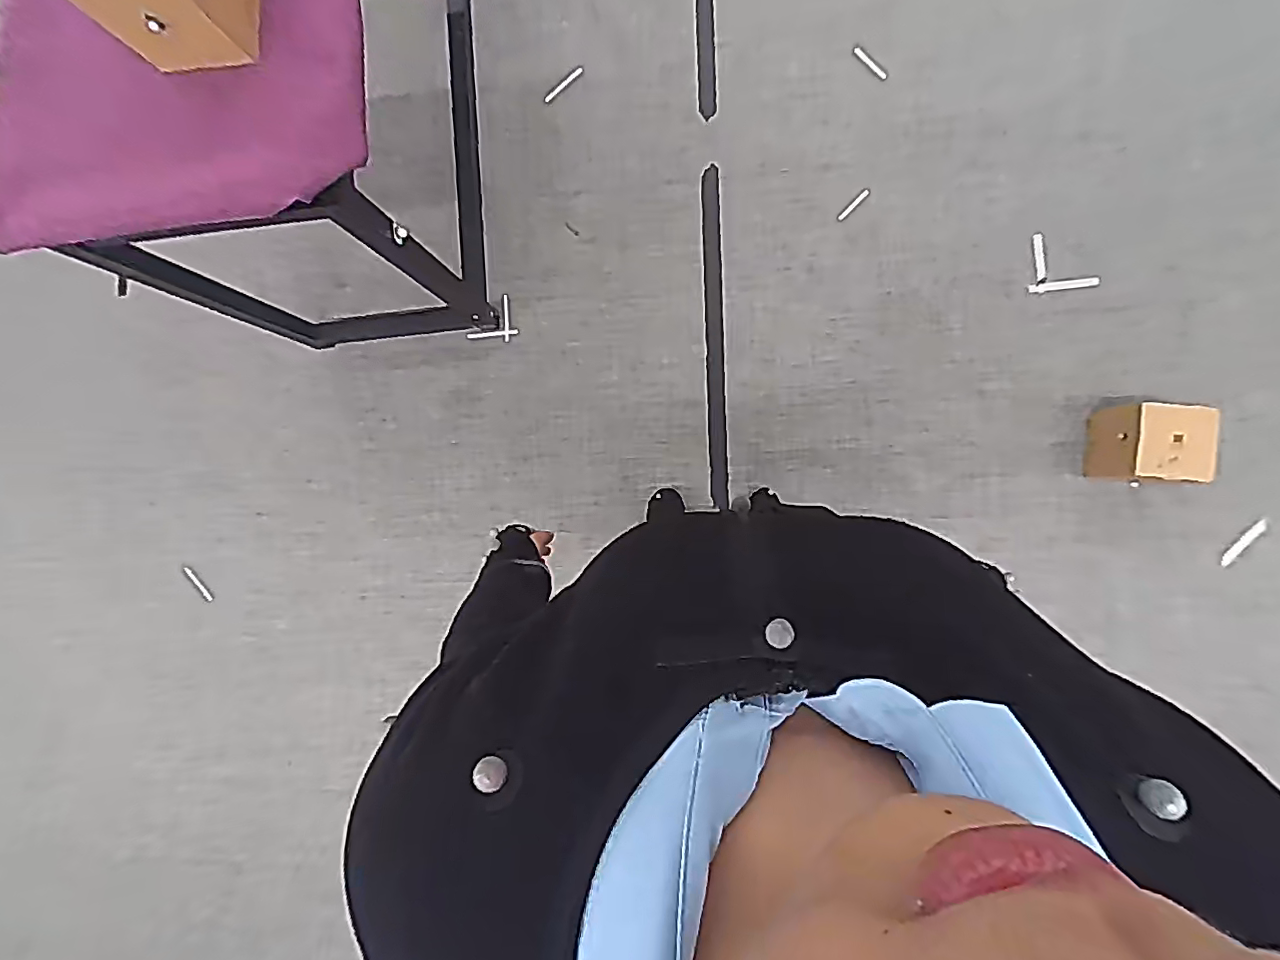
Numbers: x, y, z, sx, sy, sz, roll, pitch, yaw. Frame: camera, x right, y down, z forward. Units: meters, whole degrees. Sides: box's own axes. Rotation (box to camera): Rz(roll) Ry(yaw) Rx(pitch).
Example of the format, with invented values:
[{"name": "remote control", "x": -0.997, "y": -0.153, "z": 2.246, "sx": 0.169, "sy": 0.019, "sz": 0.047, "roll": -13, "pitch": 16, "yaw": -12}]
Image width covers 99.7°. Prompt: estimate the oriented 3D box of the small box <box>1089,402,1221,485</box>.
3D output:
[{"name": "small box", "x": 1.243, "y": -0.084, "z": 1.318, "sx": 0.168, "sy": 0.176, "sz": 0.179, "roll": 6, "pitch": 90, "yaw": 7}]
